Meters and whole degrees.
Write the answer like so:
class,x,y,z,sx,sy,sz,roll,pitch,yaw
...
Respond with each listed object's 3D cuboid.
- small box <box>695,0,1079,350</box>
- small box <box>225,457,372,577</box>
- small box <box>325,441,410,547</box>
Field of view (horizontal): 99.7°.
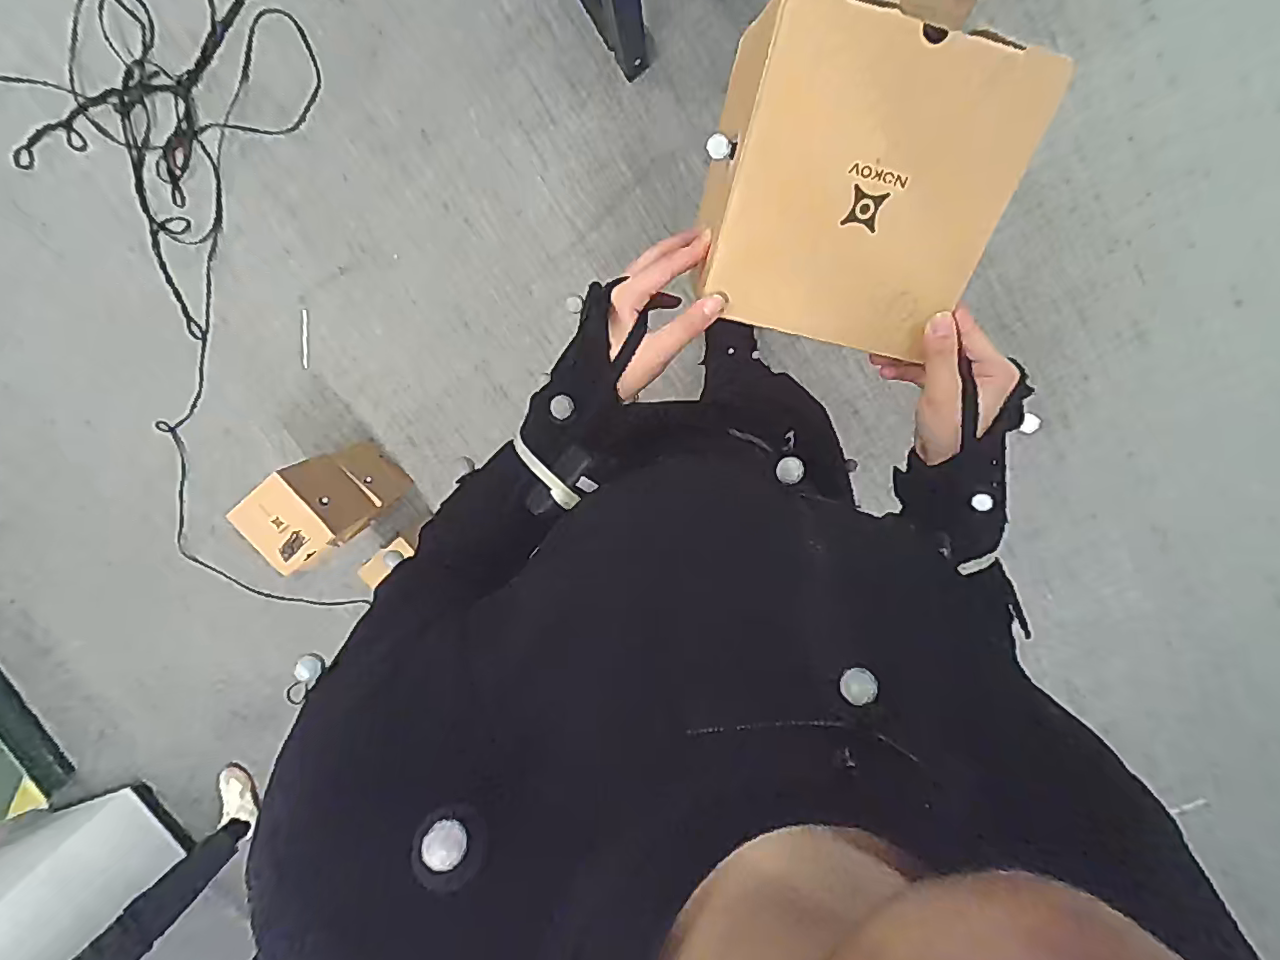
class,x,y,z,sx,sy,sz,roll,pitch,yaw
small box,0.139,-0.217,0.389,0.168,0.176,0.179,11,119,-5
small box,-0.736,0.073,1.189,0.168,0.176,0.179,-36,101,13
small box,-0.715,0.029,1.348,0.179,0.176,0.168,-41,100,14
